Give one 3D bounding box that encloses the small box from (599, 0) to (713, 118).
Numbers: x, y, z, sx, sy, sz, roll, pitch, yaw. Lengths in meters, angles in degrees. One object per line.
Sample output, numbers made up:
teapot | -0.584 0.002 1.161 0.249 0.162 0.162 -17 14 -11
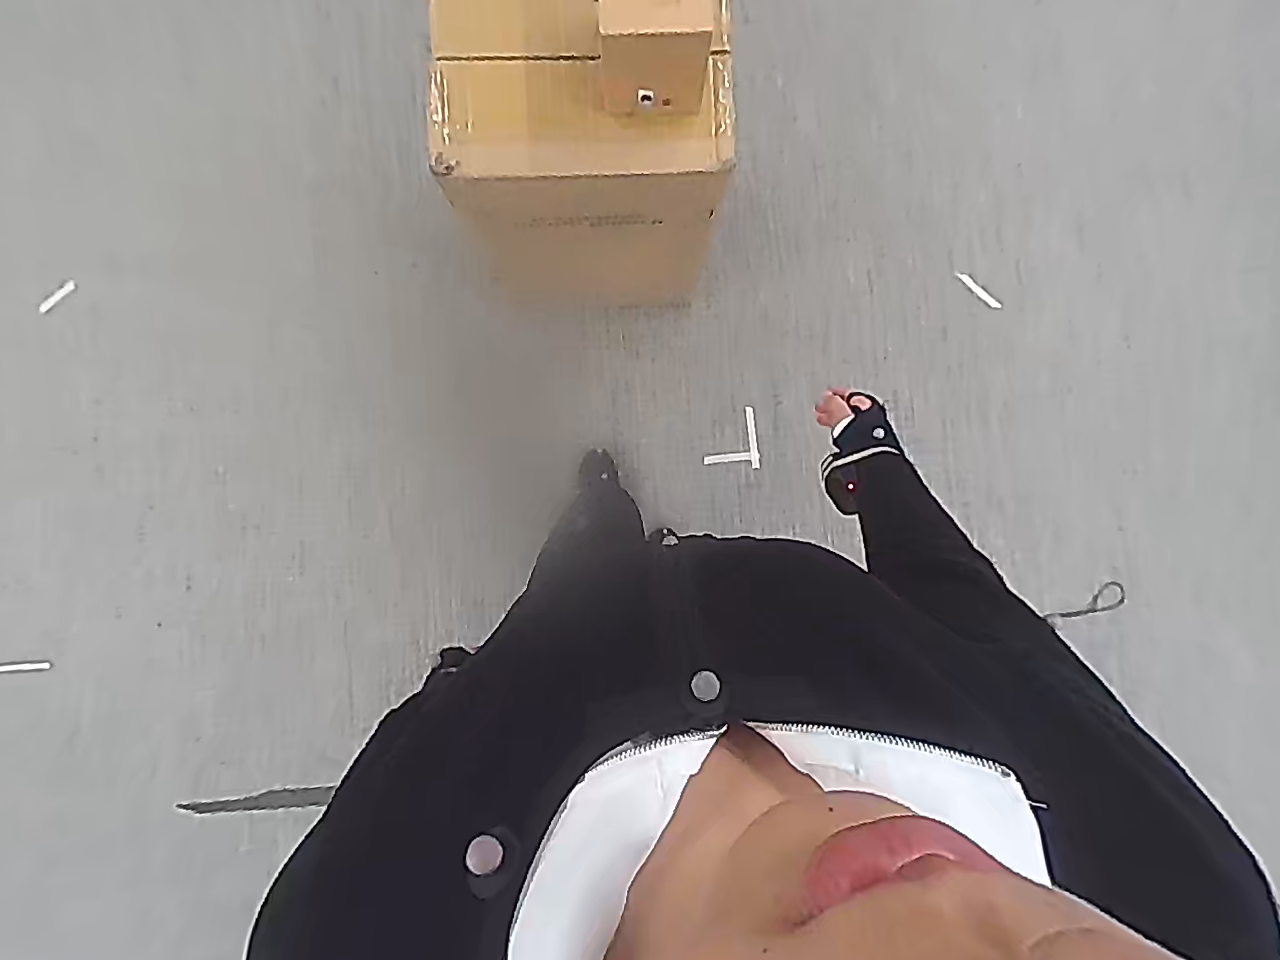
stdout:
small box | 0.021 -0.715 0.854 0.168 0.176 0.179 -2 89 1
